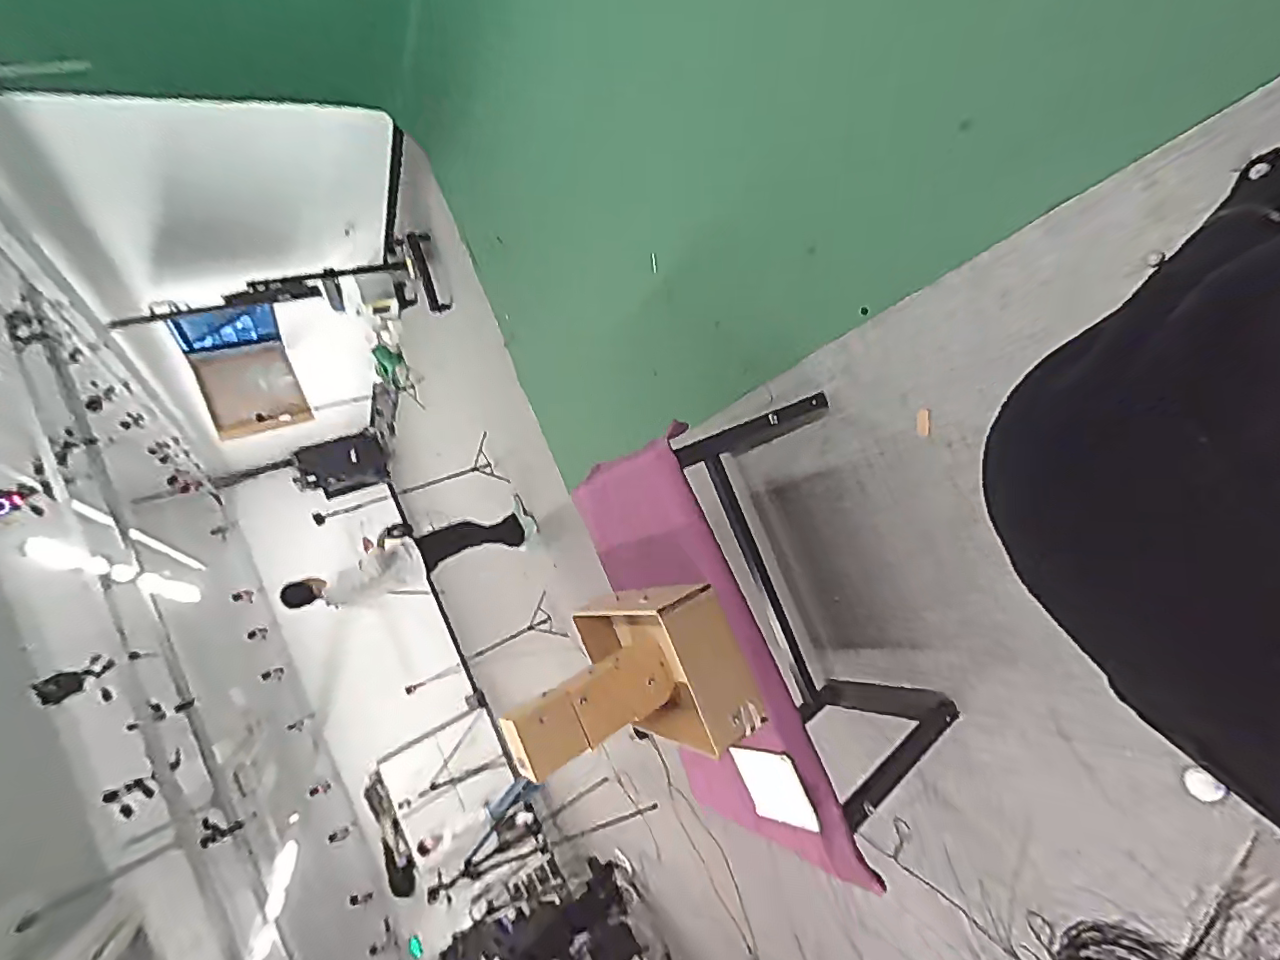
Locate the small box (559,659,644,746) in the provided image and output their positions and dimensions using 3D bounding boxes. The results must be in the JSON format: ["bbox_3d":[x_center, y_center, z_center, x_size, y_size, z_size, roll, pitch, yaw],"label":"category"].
[{"bbox_3d":[-0.114,0.661,1.627,0.168,0.176,0.179,-29,84,57],"label":"small box"}]

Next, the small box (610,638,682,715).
[{"bbox_3d":[0.014,0.616,1.715,0.179,0.176,0.168,-24,88,58],"label":"small box"}]
